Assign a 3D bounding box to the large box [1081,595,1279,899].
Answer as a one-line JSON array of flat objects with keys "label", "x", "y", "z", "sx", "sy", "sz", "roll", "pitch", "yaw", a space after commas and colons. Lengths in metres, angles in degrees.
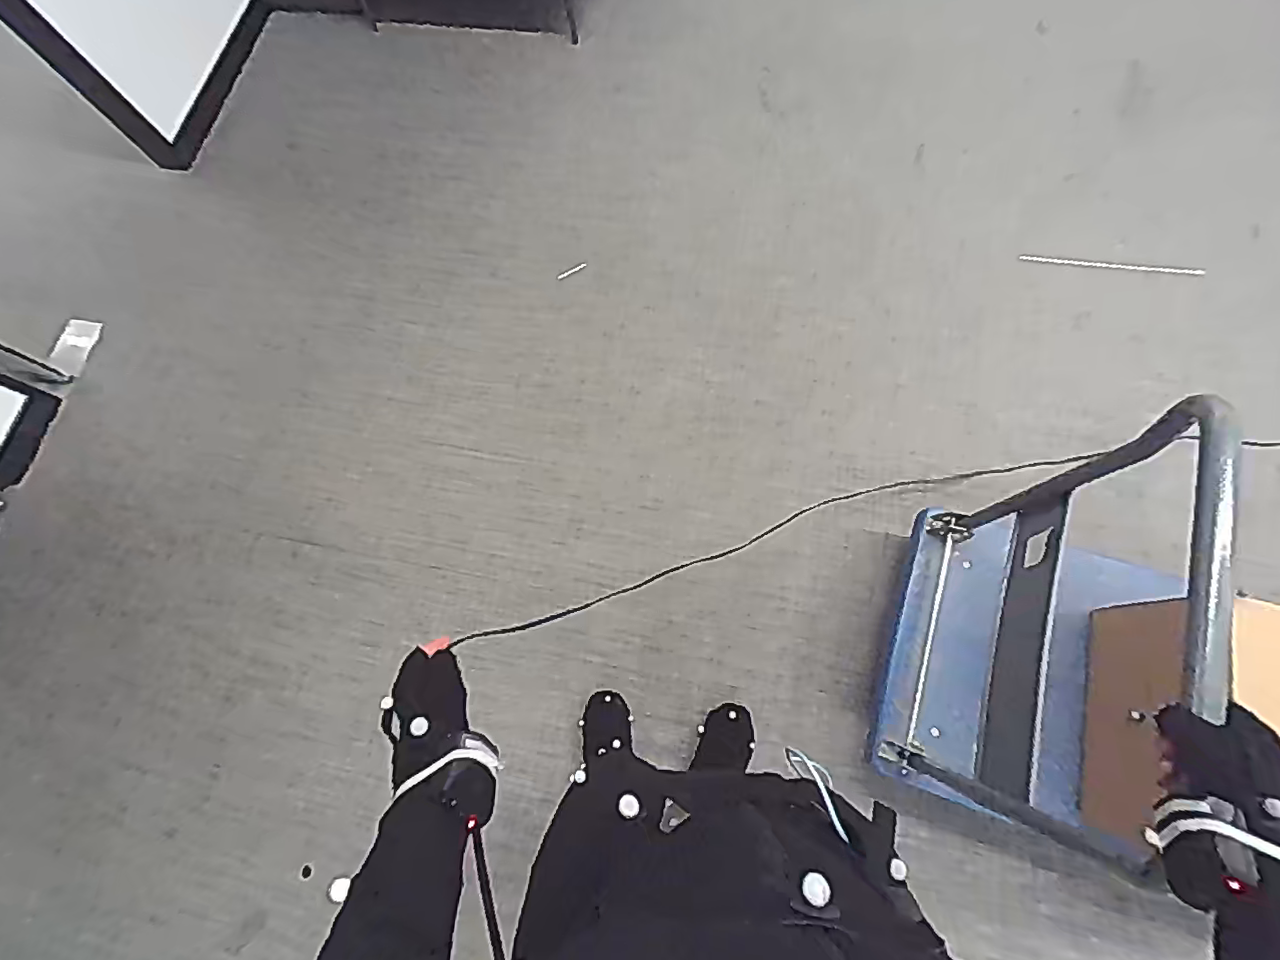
[{"label": "large box", "x": 1.003, "y": 0.442, "z": 0.898, "sx": 0.320, "sy": 0.320, "sz": 0.408, "roll": 14, "pitch": 73, "yaw": 8}]
